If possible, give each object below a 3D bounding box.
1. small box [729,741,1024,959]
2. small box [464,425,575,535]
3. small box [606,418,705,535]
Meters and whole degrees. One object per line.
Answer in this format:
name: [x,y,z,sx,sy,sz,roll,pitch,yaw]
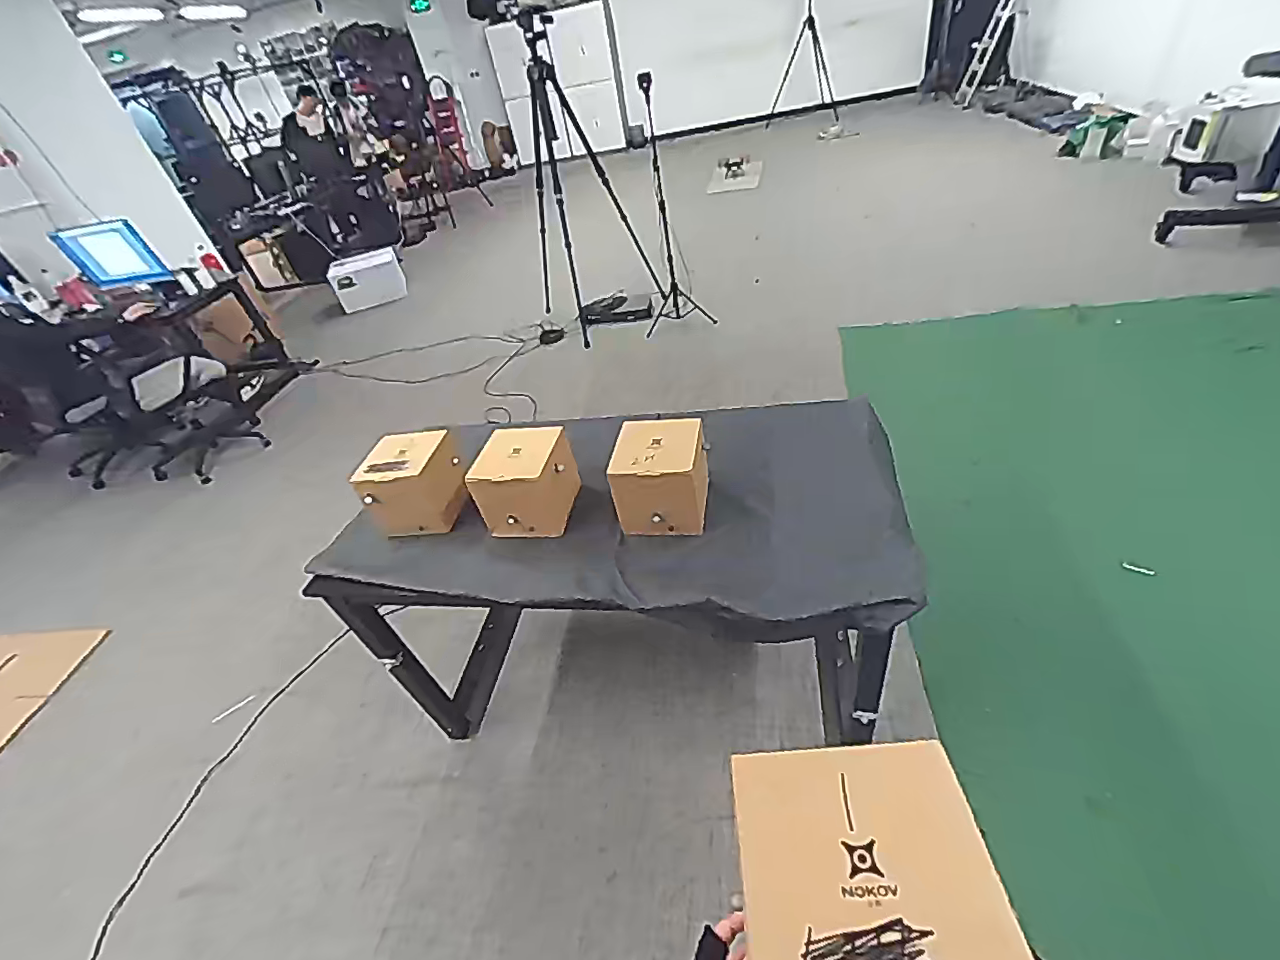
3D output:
small box: [0.165,0.330,0.410,0.168,0.176,0.179,-8,34,9]
small box: [-0.249,-0.002,1.178,0.168,0.176,0.179,0,42,13]
small box: [0.041,-0.009,1.109,0.168,0.176,0.179,-1,41,14]
